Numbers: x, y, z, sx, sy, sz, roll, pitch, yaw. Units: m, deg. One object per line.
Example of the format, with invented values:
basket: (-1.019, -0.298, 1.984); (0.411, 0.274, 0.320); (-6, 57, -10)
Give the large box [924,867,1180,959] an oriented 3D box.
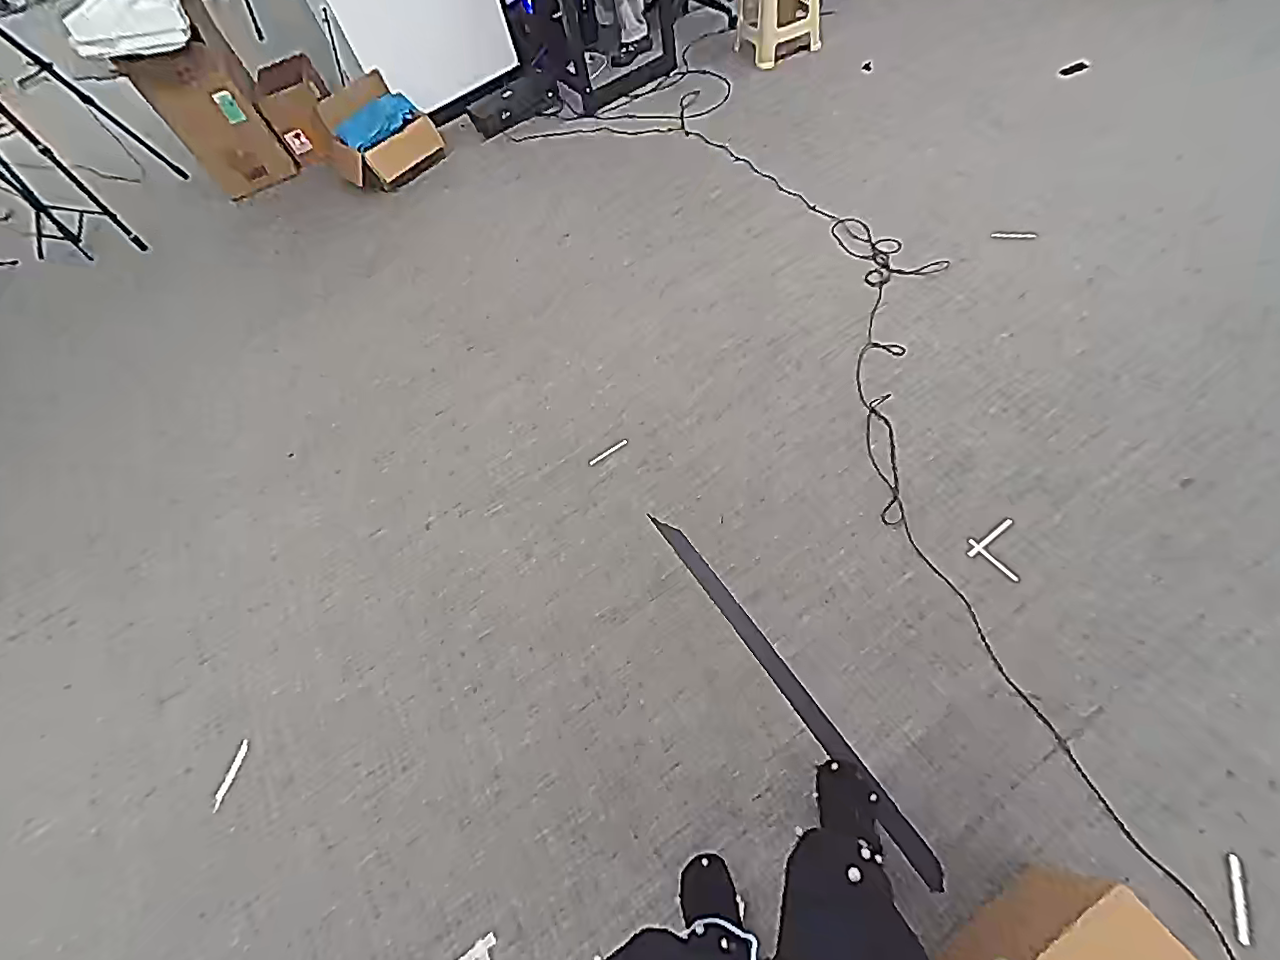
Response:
large box: (0.645, 0.882, 0.817); (0.408, 0.320, 0.320); (-34, 58, -7)
